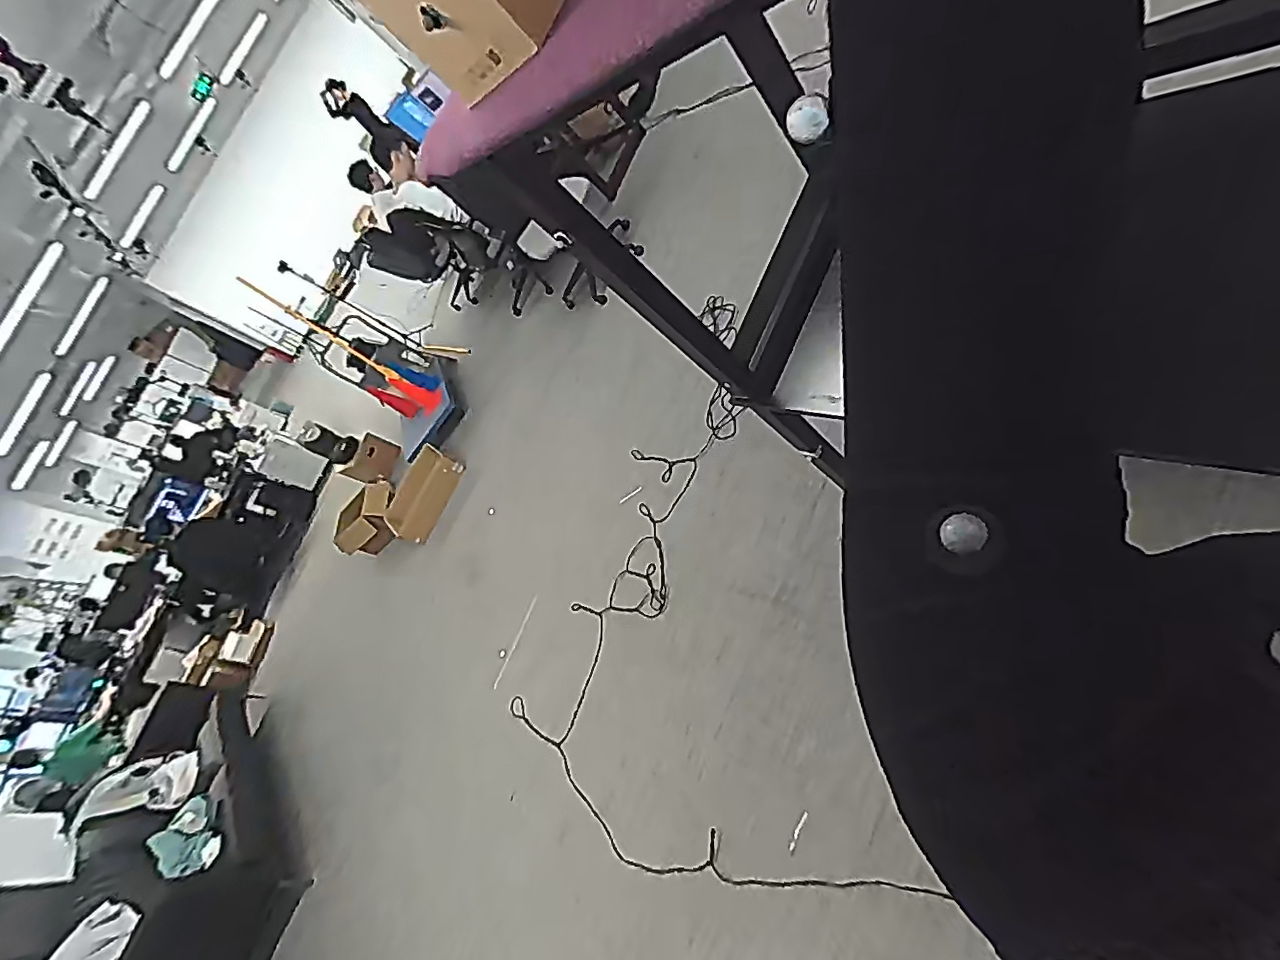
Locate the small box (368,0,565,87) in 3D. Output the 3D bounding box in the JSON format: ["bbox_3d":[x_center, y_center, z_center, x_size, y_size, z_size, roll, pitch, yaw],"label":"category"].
[{"bbox_3d":[-0.161,-0.533,0.530,0.168,0.176,0.179,14,78,47],"label":"small box"}]
